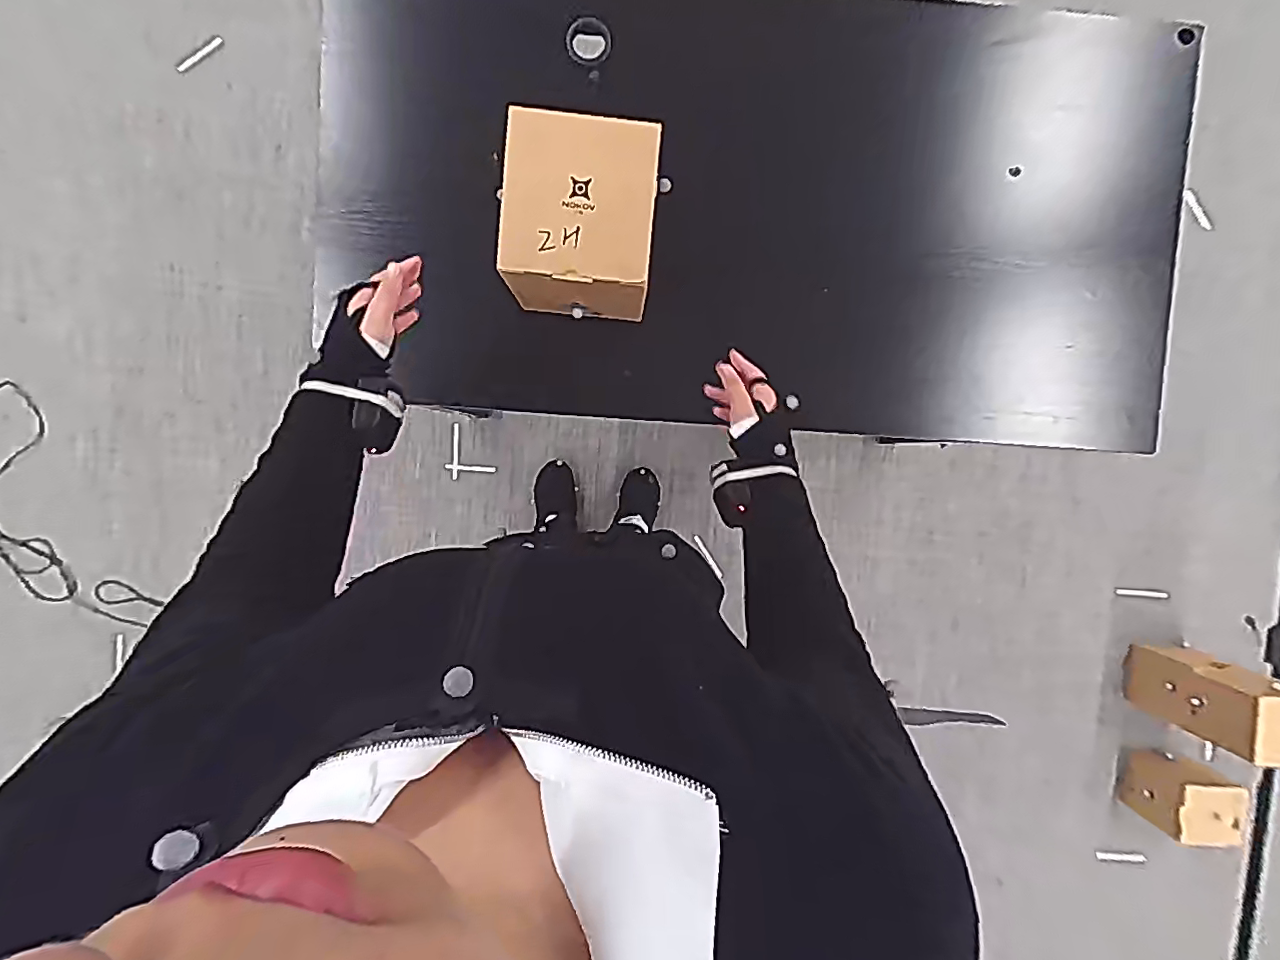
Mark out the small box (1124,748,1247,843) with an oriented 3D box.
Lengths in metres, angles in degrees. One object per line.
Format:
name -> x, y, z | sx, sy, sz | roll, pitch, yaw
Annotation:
small box -> 1.523, 0.878, 1.520 | 0.179, 0.176, 0.168 | 4, 93, -1

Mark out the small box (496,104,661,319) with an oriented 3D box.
small box -> -0.070, -0.313, 0.664 | 0.168, 0.176, 0.179 | 5, 93, -2

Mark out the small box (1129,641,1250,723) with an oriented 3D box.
small box -> 1.510, 0.559, 1.497 | 0.168, 0.176, 0.179 | 2, 94, -2

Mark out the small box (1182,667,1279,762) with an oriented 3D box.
small box -> 1.512, 0.572, 1.335 | 0.179, 0.176, 0.168 | 0, 92, 0
